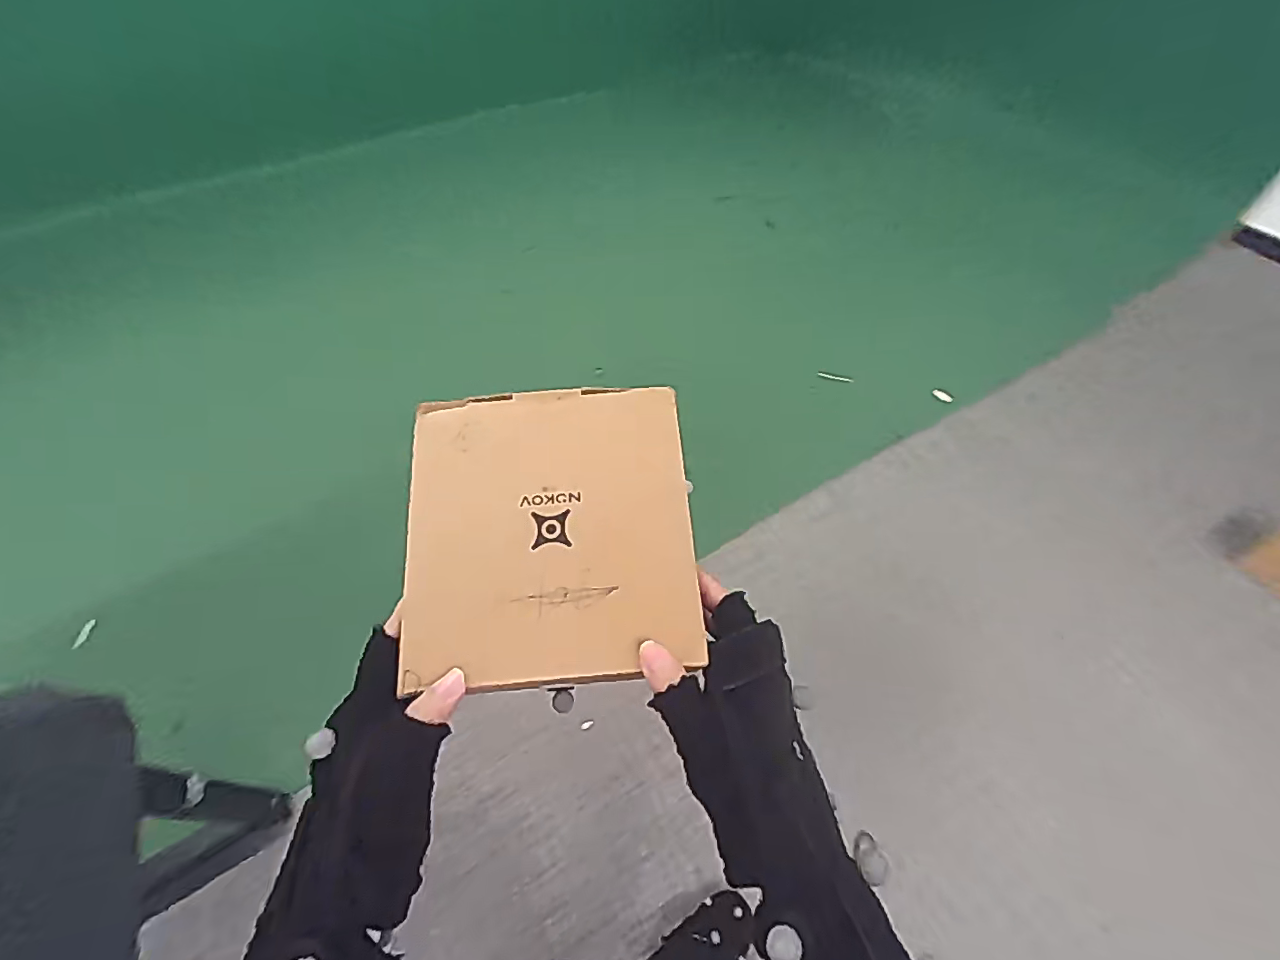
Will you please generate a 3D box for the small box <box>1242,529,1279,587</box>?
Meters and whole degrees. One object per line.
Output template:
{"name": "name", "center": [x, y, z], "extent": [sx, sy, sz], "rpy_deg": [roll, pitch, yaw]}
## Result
{"name": "small box", "center": [1.785, 0.200, 1.421], "extent": [0.168, 0.176, 0.179], "rpy_deg": [-25, 58, -15]}
